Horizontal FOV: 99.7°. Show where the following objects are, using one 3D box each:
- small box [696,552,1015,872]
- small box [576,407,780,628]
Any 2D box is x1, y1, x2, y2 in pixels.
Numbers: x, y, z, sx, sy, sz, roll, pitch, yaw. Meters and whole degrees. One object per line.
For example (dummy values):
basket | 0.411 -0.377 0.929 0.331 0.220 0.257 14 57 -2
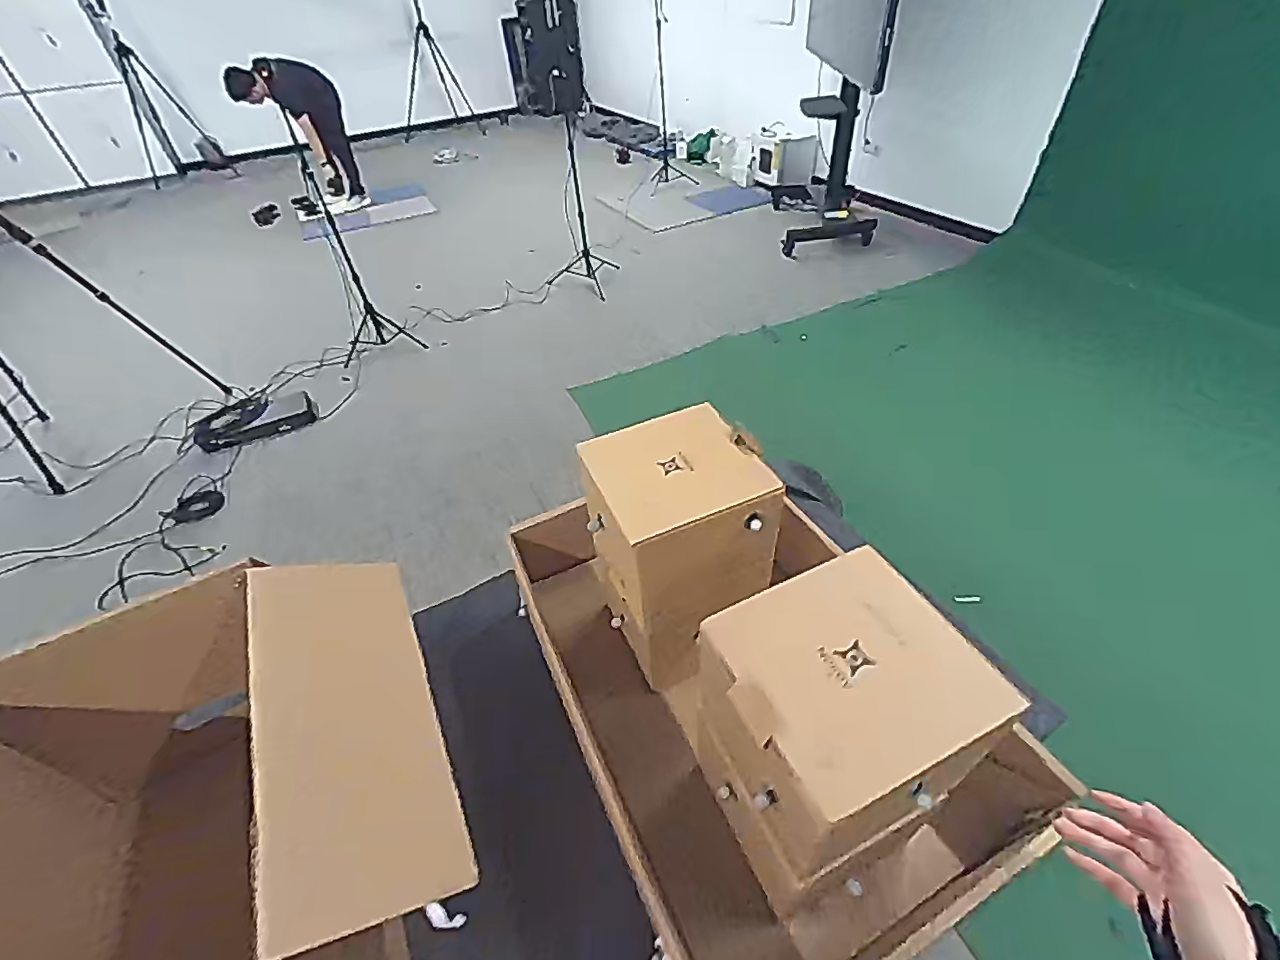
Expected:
small box | 0.163 0.200 0.469 0.179 0.176 0.168 -20 47 -15
small box | 0.041 0.045 0.640 0.179 0.176 0.168 -19 47 -15
